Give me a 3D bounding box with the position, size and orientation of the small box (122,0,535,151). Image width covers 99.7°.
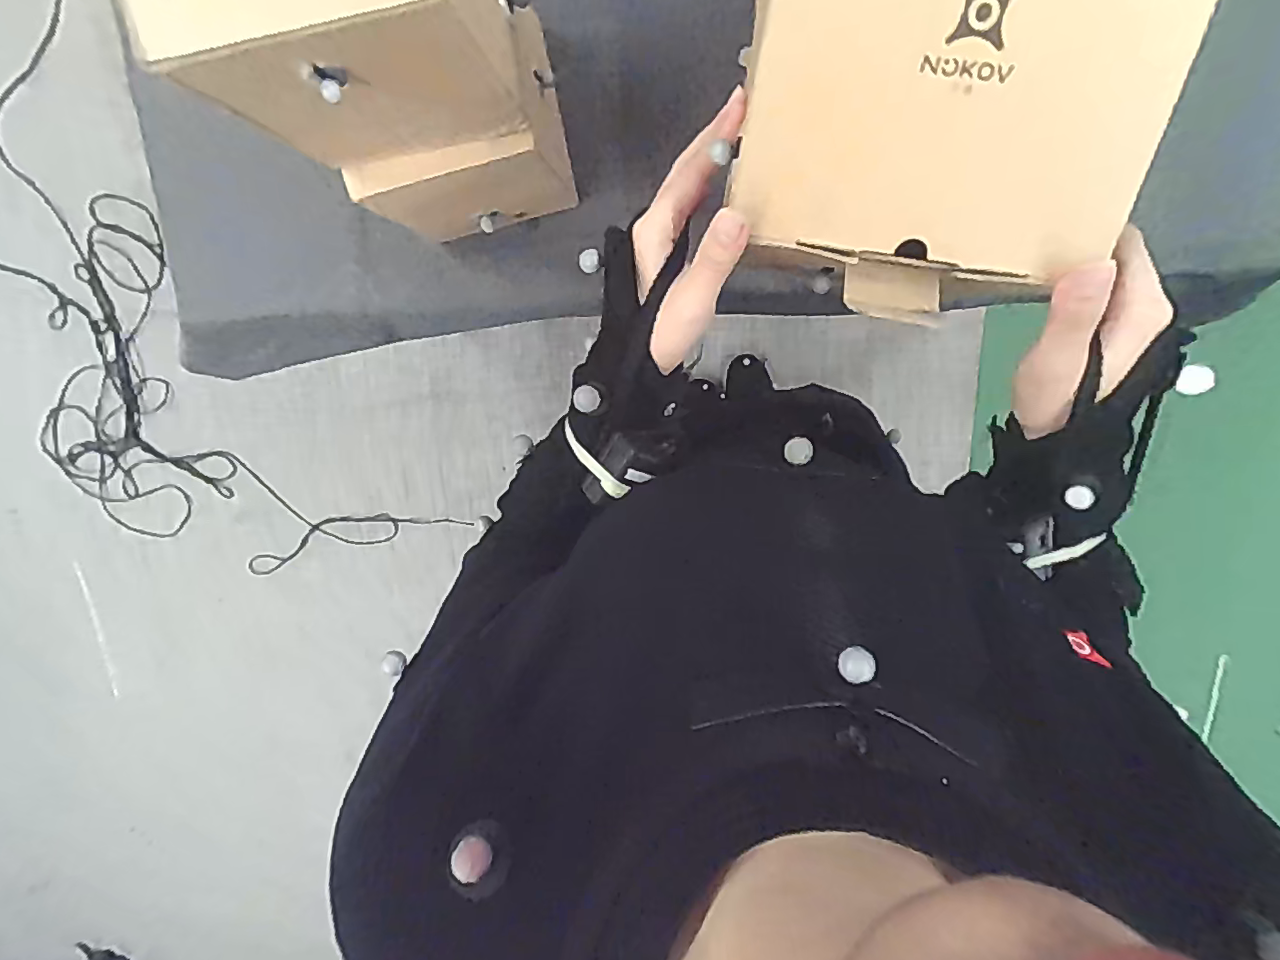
[{"bbox_3d":[-0.182,-0.329,0.333,0.179,0.176,0.168,-7,104,6],"label":"small box"}]

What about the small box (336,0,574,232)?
[{"bbox_3d":[-0.170,-0.351,0.494,0.168,0.176,0.179,-10,102,8],"label":"small box"}]
